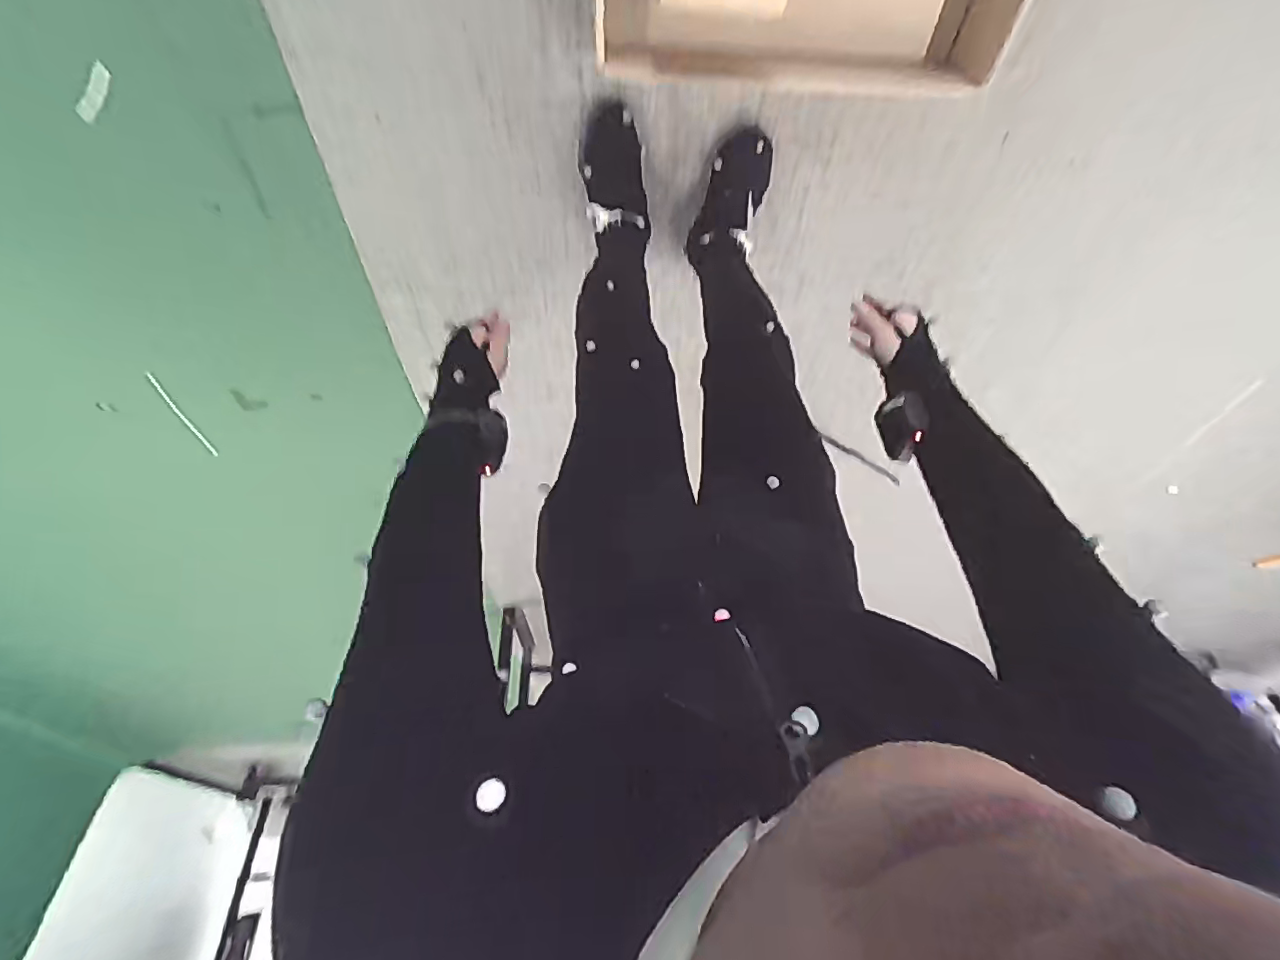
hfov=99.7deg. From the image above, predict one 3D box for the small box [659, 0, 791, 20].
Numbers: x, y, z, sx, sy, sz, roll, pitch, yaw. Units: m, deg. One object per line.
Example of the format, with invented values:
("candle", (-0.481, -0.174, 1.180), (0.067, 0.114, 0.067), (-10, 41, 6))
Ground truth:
("small box", (0.114, -0.743, 0.720), (0.179, 0.176, 0.168), (-1, 139, -6))
